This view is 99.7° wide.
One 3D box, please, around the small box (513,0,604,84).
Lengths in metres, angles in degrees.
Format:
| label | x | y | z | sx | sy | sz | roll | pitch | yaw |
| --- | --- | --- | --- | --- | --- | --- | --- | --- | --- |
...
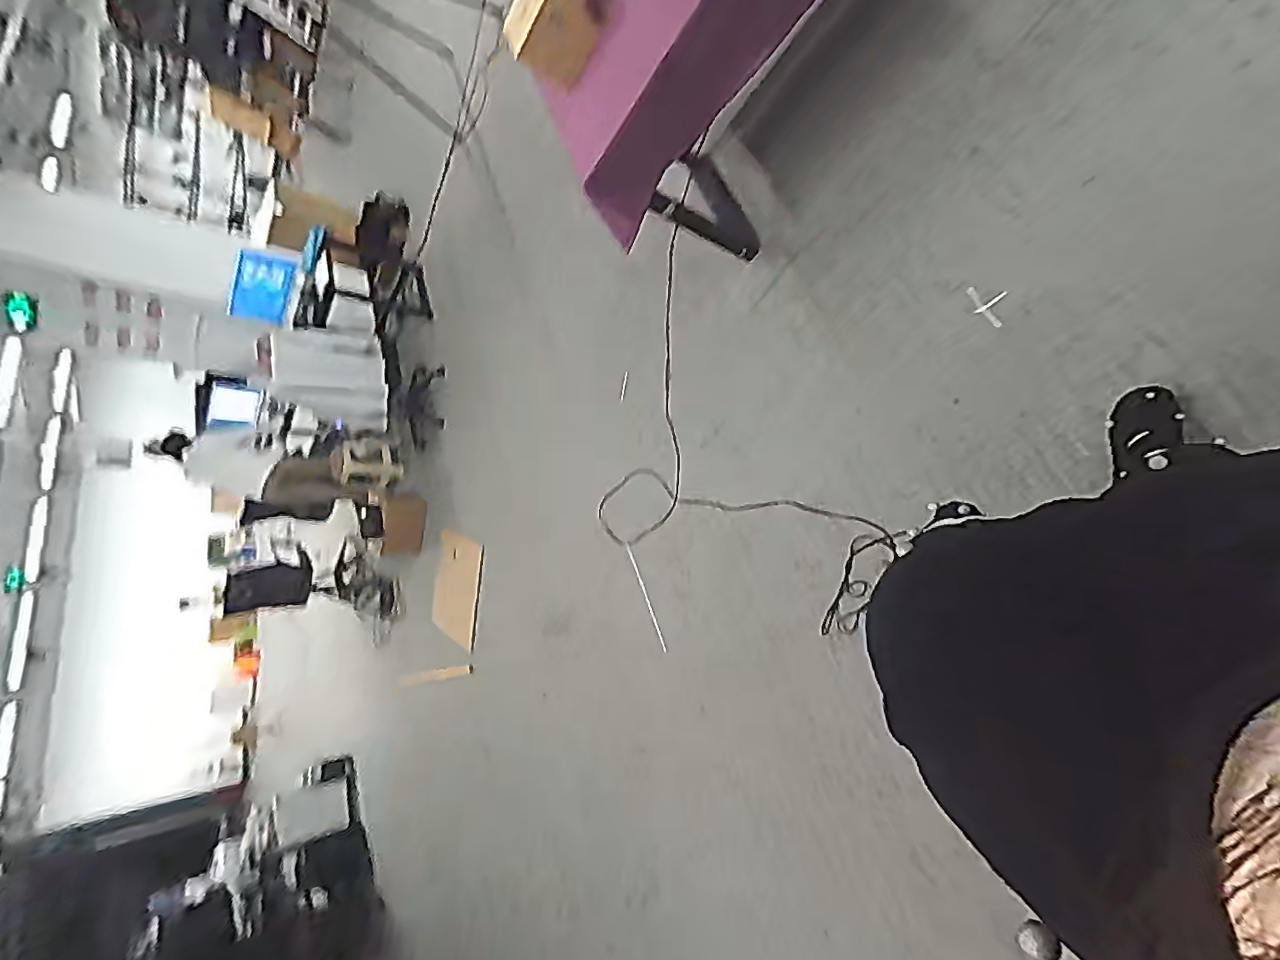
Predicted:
| label | x | y | z | sx | sy | sz | roll | pitch | yaw |
| --- | --- | --- | --- | --- | --- | --- | --- | --- | --- |
| small box | -0.214 | -1.231 | 1.454 | 0.179 | 0.176 | 0.168 | -38 | 60 | 39 |
